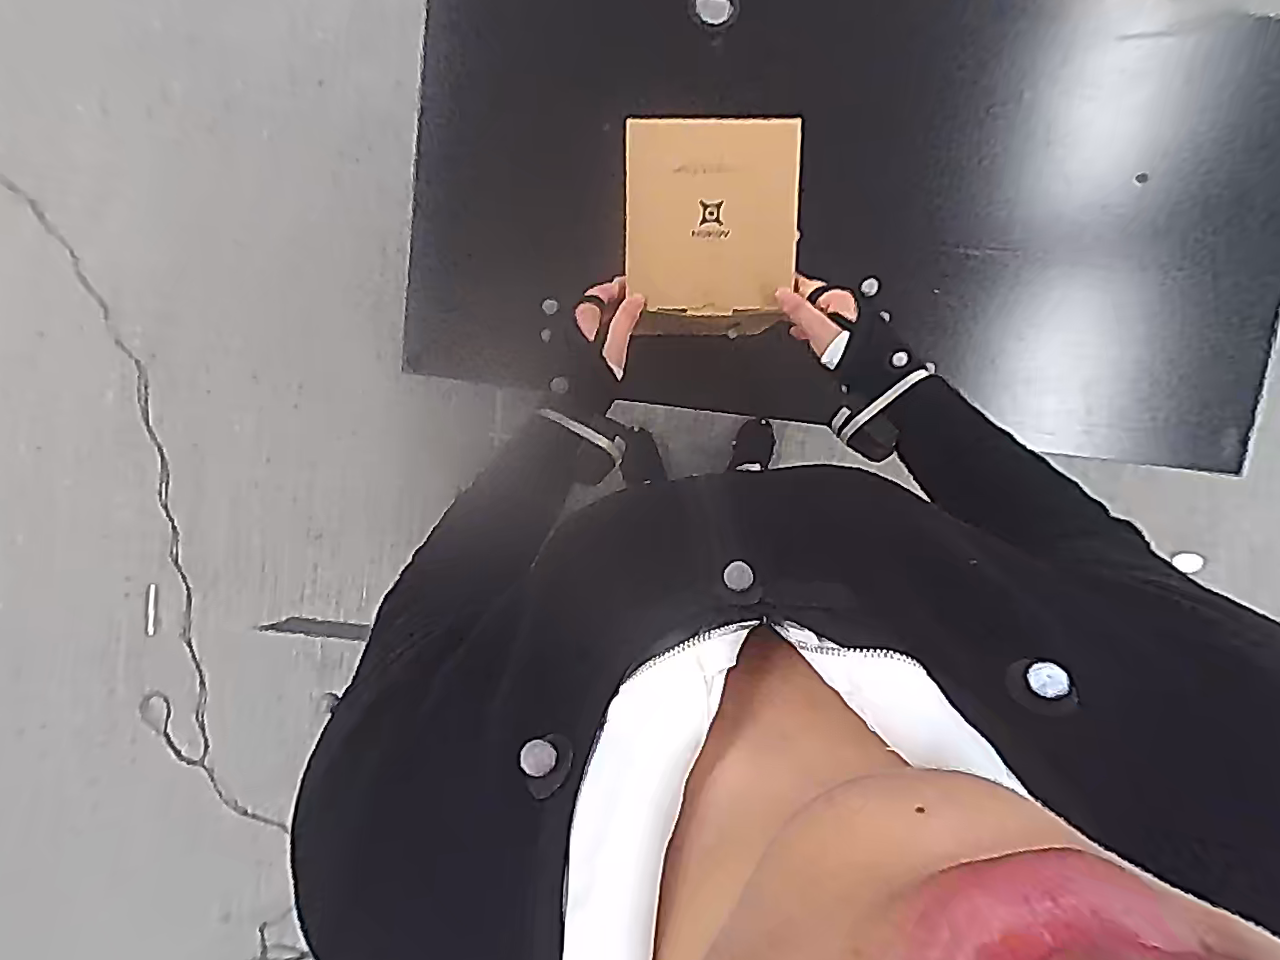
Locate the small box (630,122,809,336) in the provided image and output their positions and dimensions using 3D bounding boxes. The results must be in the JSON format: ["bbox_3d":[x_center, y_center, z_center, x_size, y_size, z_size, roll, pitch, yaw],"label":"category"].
[{"bbox_3d":[0.074,-0.254,0.589,0.168,0.176,0.179,0,97,-1],"label":"small box"}]
